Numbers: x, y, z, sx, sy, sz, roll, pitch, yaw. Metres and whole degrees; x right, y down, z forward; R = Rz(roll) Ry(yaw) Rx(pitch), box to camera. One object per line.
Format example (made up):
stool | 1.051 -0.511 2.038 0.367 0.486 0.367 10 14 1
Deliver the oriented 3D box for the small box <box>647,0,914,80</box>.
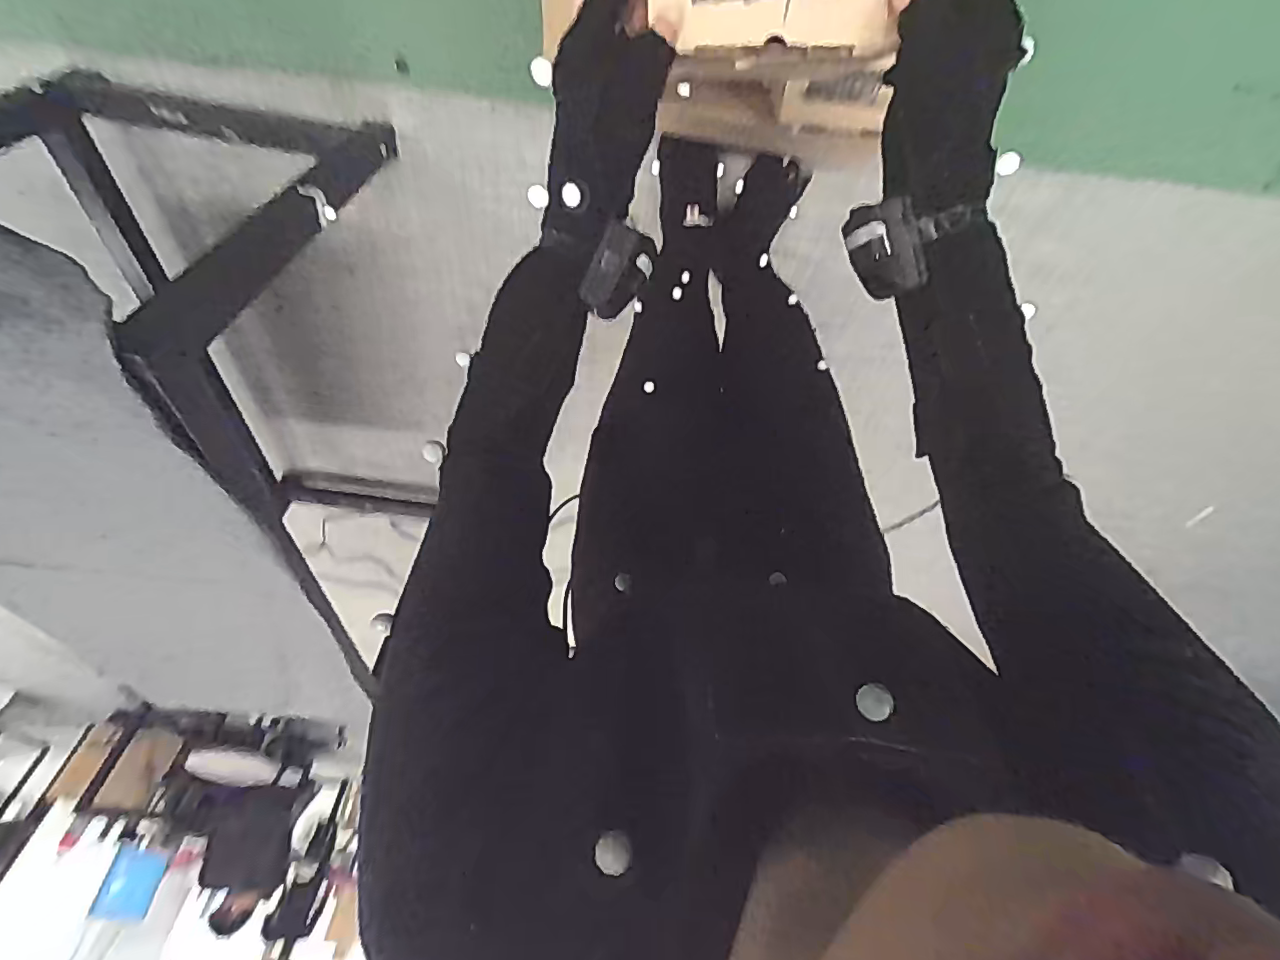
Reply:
small box | 0.090 -0.388 0.370 0.168 0.176 0.179 0 121 1
